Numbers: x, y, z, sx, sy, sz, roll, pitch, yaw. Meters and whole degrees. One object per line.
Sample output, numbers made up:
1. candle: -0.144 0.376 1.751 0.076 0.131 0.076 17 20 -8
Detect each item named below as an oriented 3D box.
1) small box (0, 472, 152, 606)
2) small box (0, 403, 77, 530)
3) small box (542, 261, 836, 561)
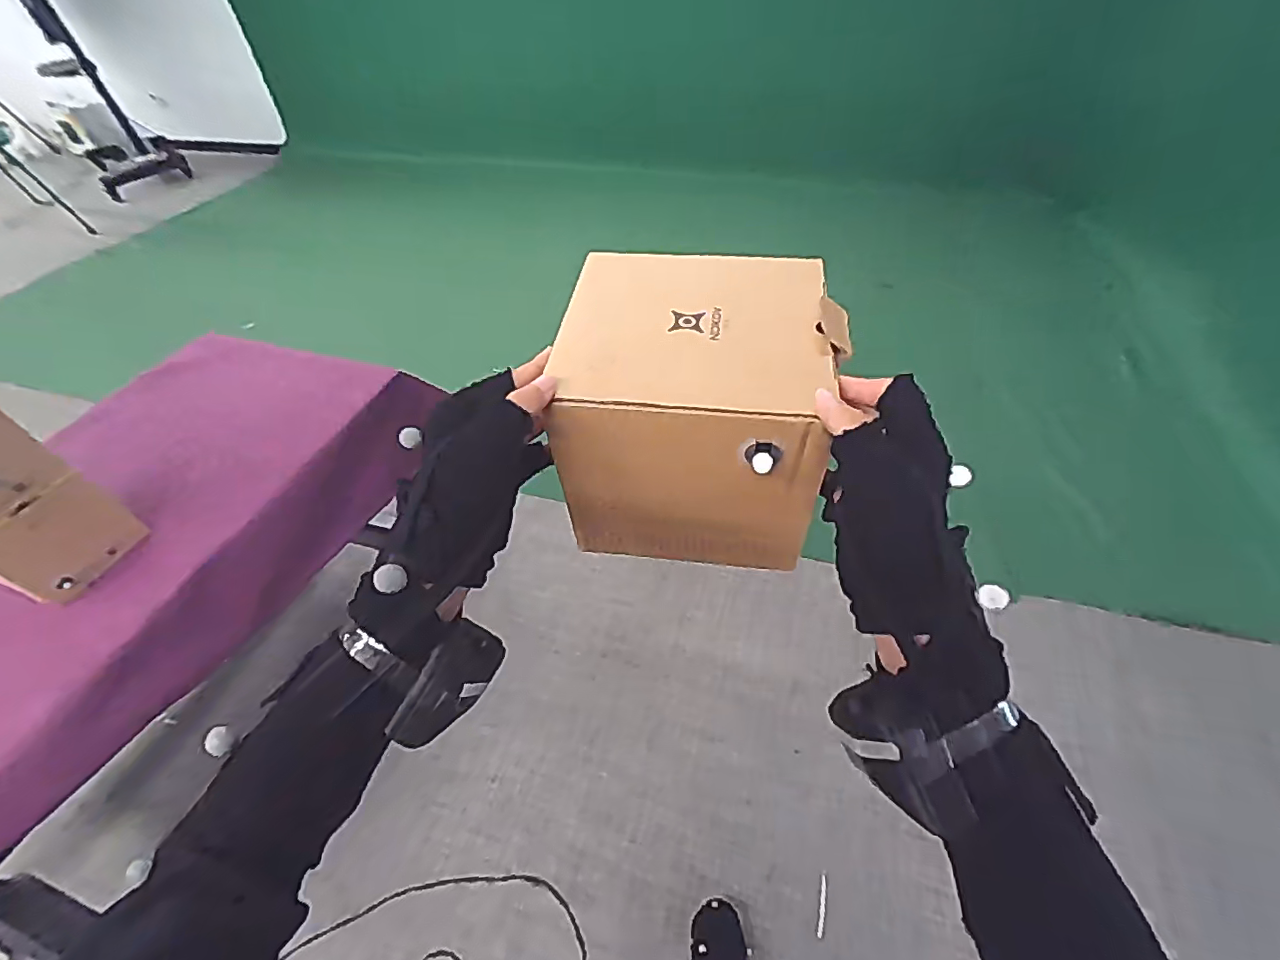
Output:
1. small box: -0.984 0.086 0.894 0.179 0.176 0.168 13 49 16
2. small box: -1.000 -0.027 0.774 0.179 0.176 0.168 13 50 15
3. small box: 0.040 -0.051 0.424 0.179 0.176 0.168 5 51 7
